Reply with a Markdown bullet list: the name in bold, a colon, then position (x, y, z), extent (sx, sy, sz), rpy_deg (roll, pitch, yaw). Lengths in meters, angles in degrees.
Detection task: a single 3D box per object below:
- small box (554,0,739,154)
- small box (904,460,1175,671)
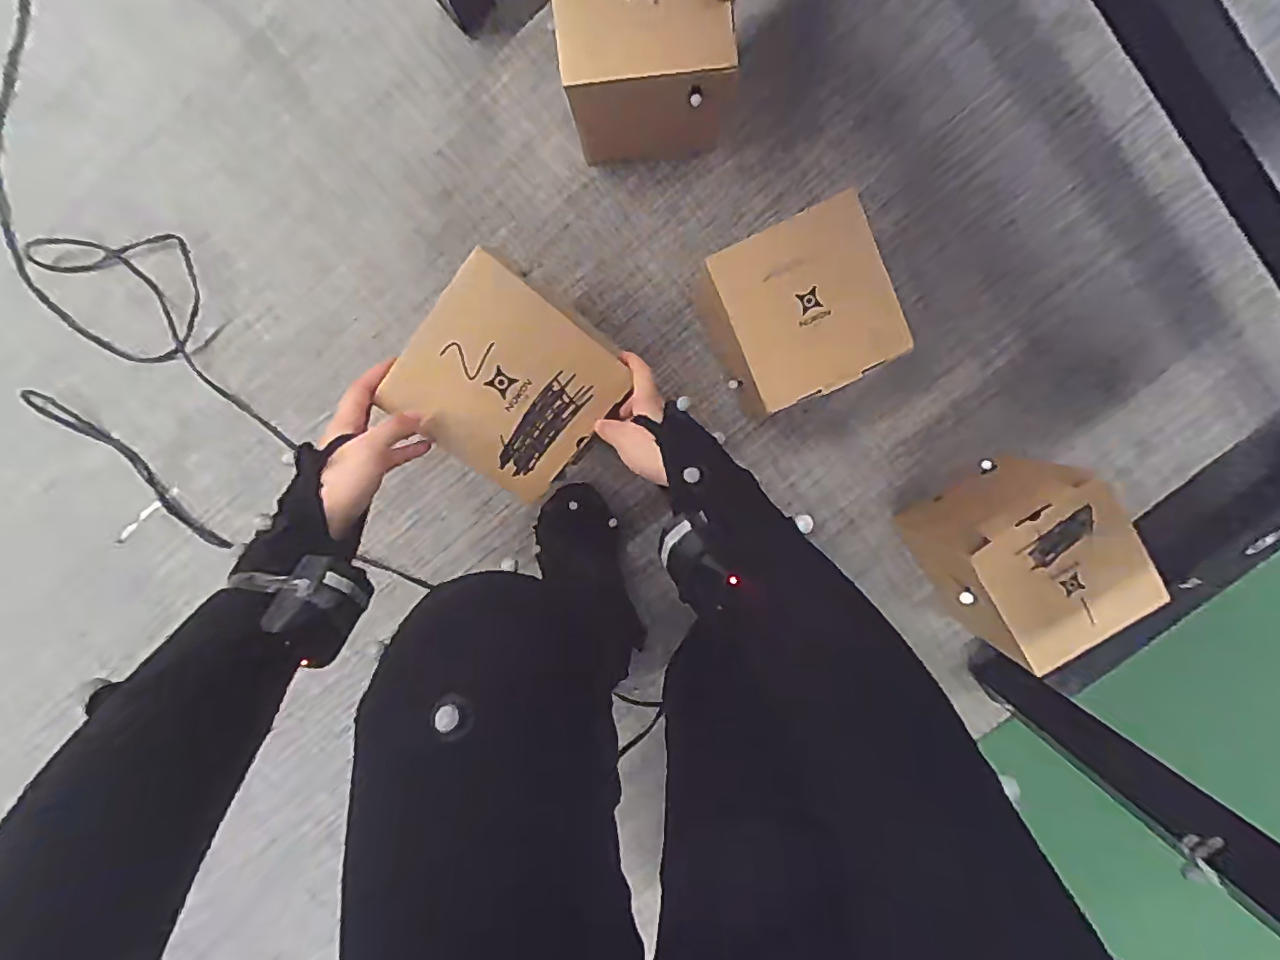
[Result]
- **small box**: position (0.004, -0.485, 0.593), extent (0.179, 0.176, 0.168), rpy_deg (-6, 97, 1)
- **small box**: position (0.463, 0.087, 0.658), extent (0.168, 0.176, 0.179), rpy_deg (-33, 97, 5)
